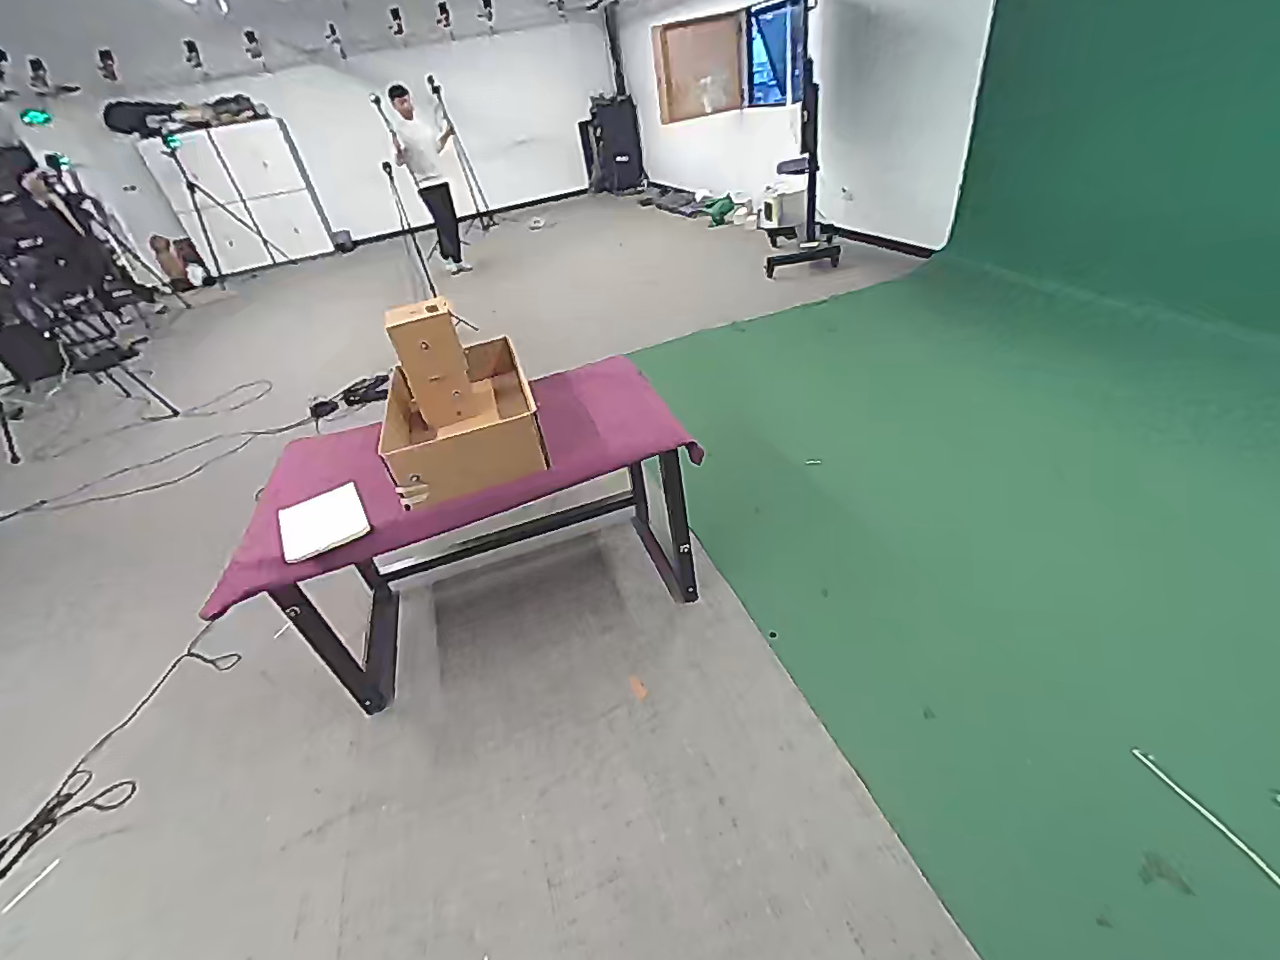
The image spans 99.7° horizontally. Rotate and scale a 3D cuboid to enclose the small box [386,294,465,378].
[{"bbox_3d":[-0.626,-0.425,1.594,0.179,0.176,0.168,-19,38,-12],"label":"small box"}]
